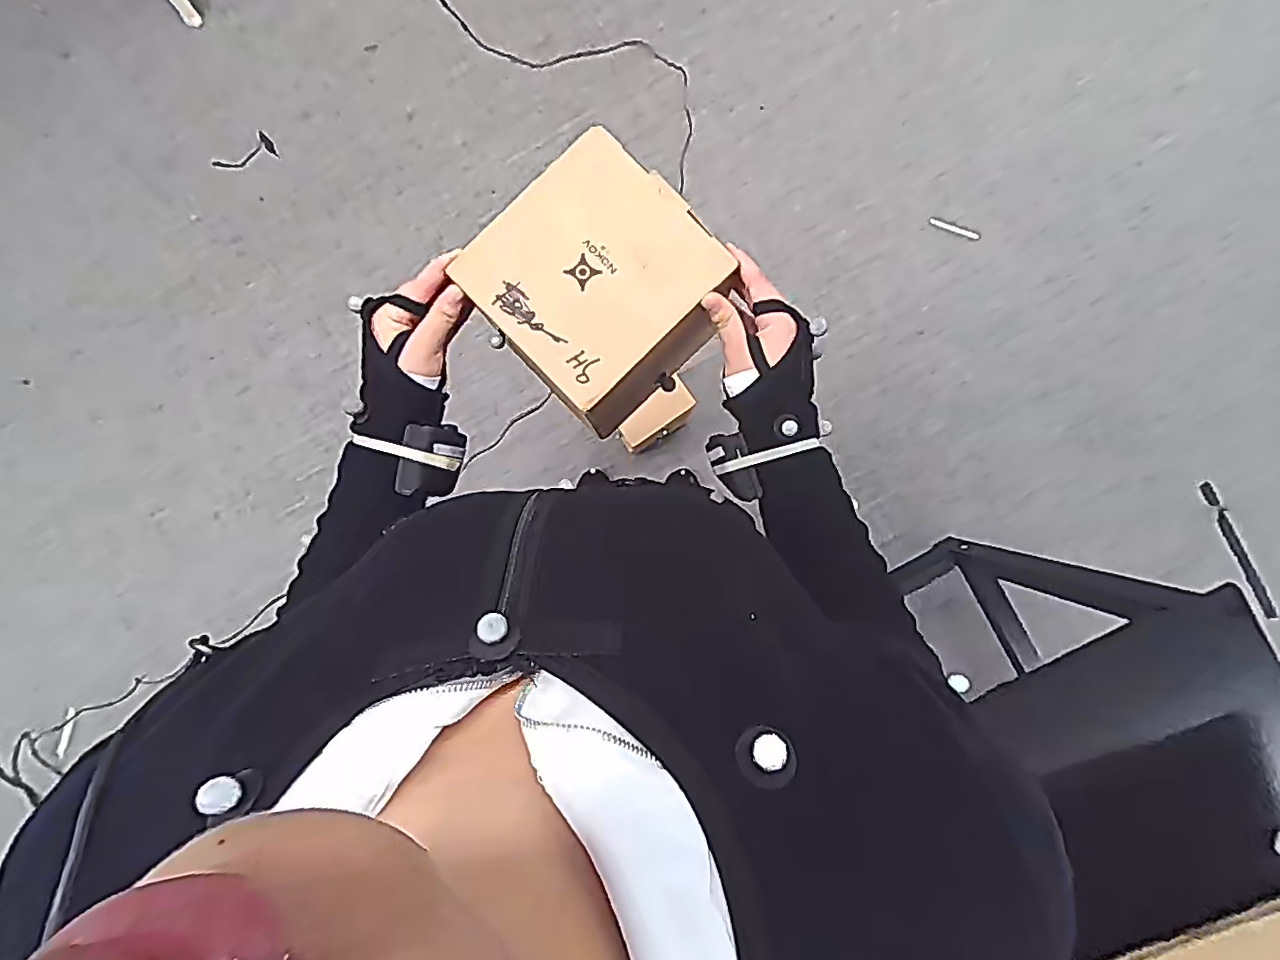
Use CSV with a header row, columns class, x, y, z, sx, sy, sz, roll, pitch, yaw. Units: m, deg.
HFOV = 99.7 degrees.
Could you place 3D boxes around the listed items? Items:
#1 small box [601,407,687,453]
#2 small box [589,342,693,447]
class,x,y,z,sx,sy,sz,roll,pitch,yaw
small box,0.006,-0.185,1.427,0.179,0.176,0.168,-32,89,3
small box,0.004,-0.189,1.265,0.179,0.176,0.168,-36,90,1
